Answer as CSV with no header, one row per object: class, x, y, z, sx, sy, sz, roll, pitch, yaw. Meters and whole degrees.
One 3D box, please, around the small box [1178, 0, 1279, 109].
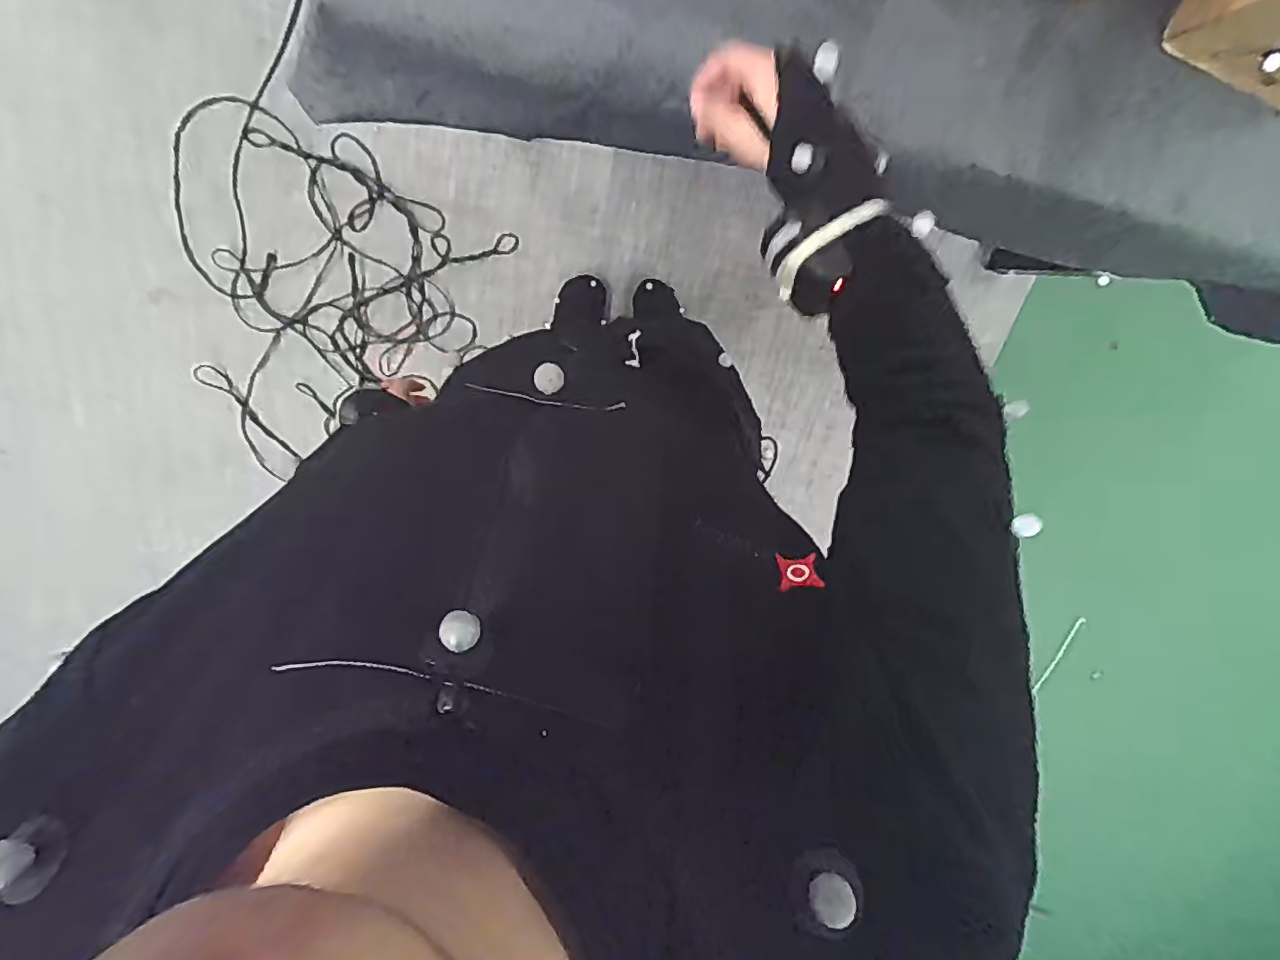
small box,0.591,-0.425,0.409,0.168,0.176,0.179,16,110,-10
